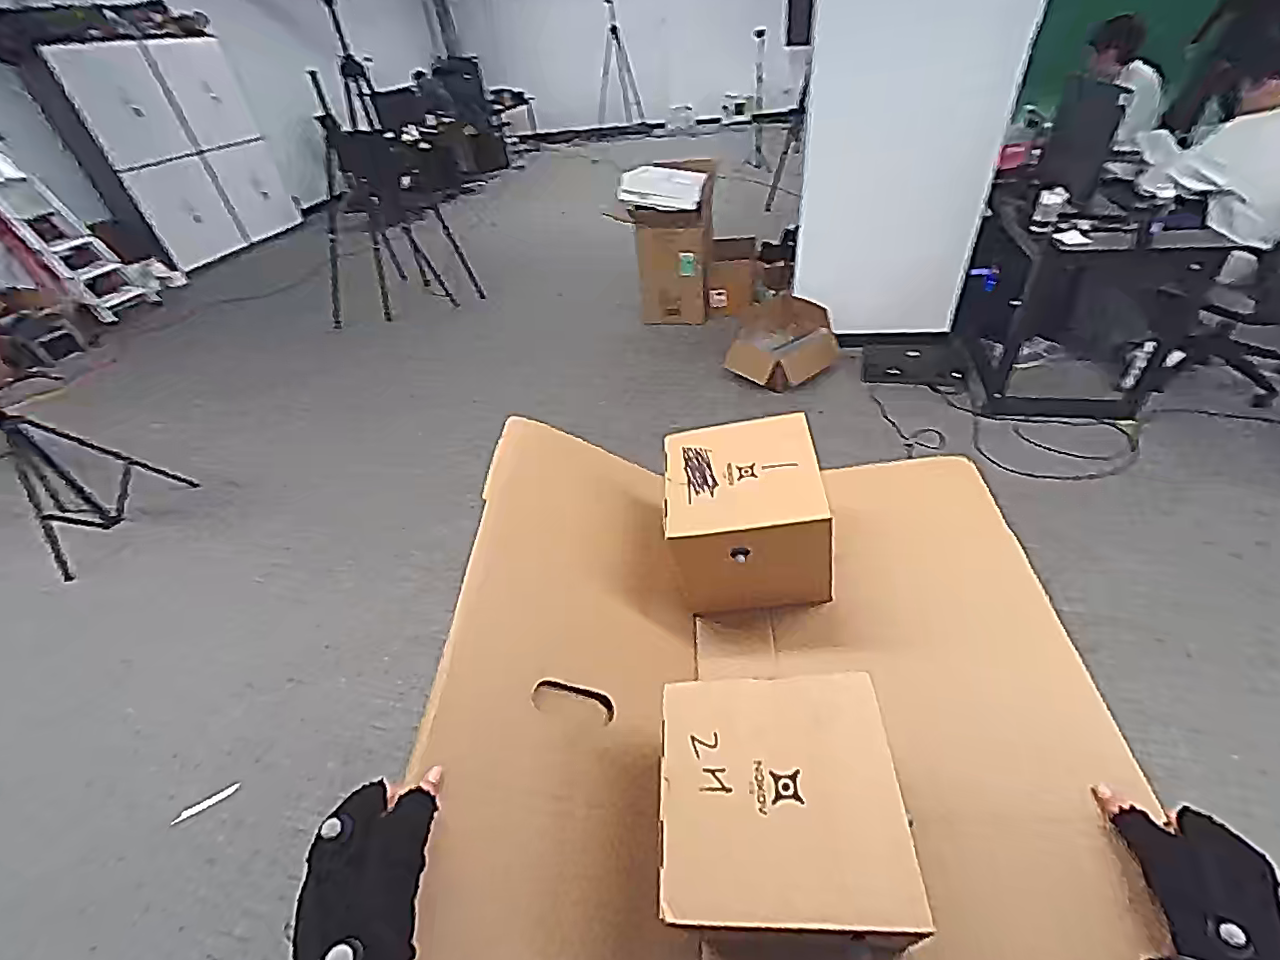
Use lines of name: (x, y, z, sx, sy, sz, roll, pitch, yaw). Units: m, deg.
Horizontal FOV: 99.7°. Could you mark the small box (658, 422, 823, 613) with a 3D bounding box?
small box: (0.127, 0.055, 0.686, 0.179, 0.176, 0.168, -9, 46, 11)
